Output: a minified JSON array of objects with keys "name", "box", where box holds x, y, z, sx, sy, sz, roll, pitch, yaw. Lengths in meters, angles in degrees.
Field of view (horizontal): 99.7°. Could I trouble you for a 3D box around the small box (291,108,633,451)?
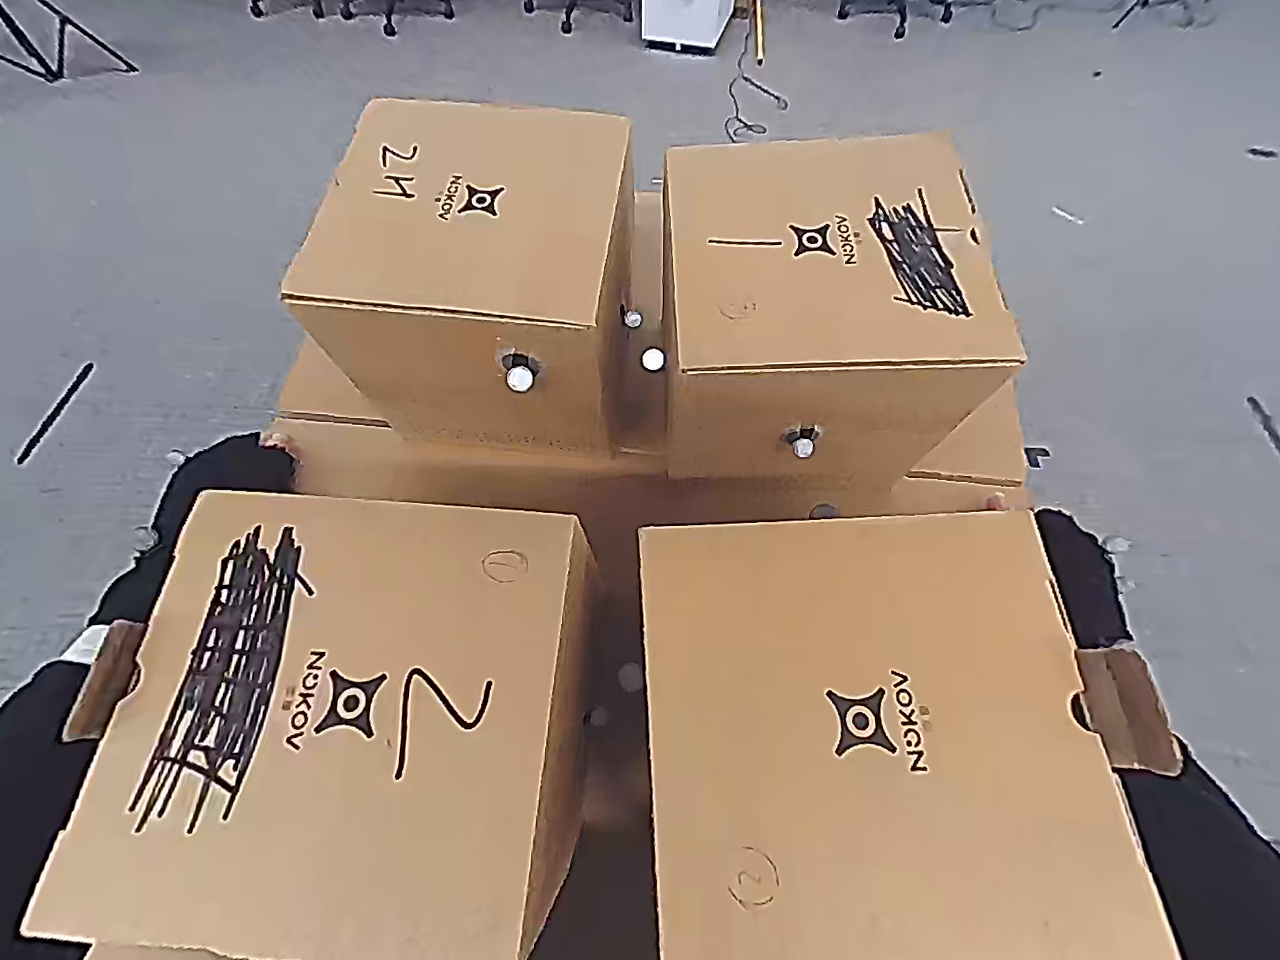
[{"name":"small box","box":[-0.101,-0.134,0.404,0.179,0.176,0.168,7,67,4]}]
